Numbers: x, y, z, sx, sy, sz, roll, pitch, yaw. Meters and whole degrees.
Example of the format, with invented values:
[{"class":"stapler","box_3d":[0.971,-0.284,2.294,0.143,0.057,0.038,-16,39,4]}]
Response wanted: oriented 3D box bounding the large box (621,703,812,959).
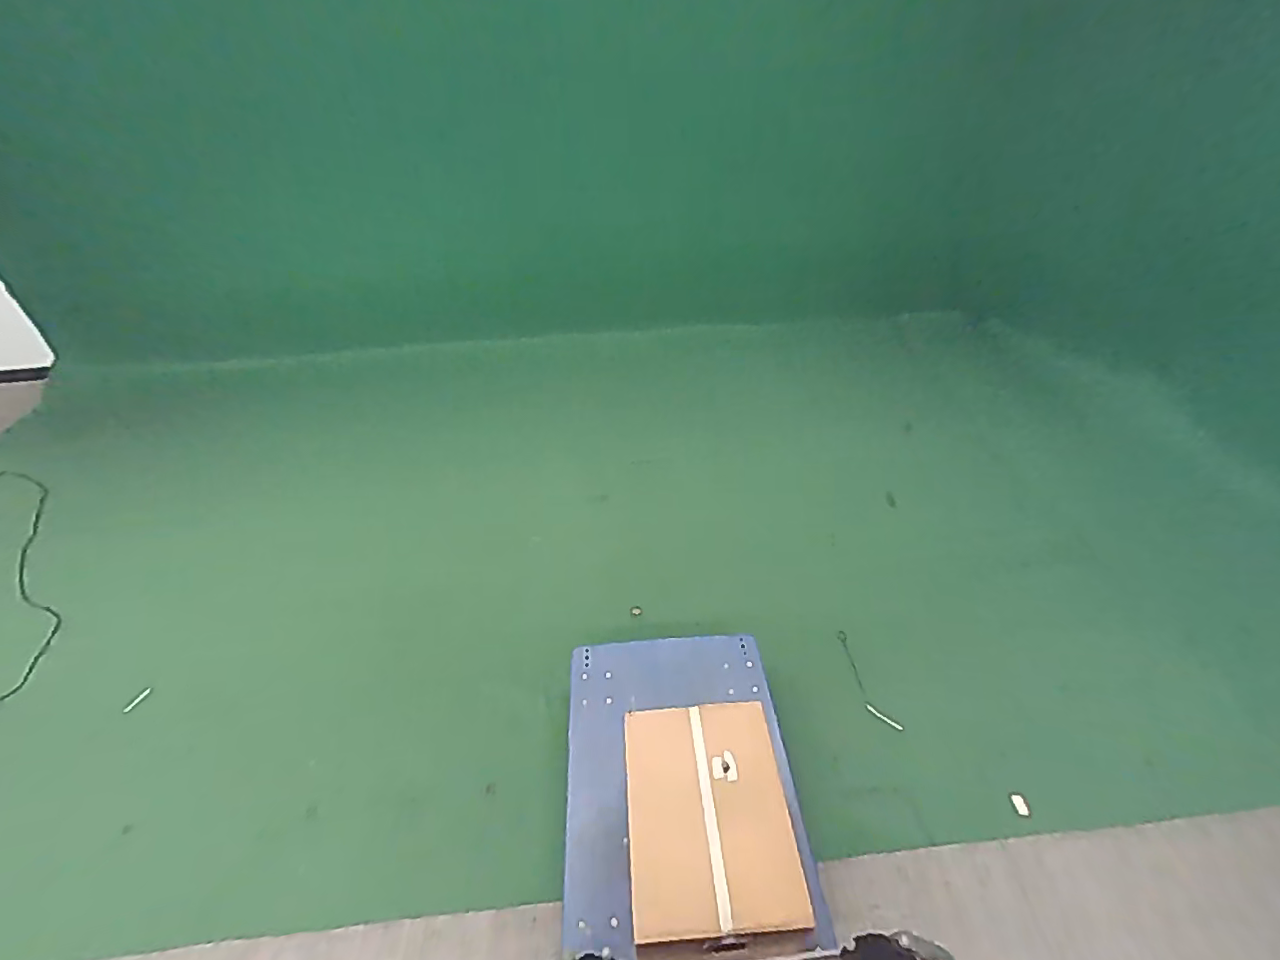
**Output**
[{"class":"large box","box_3d":[0.133,0.757,1.159,0.320,0.320,0.408,-4,39,-3]}]
